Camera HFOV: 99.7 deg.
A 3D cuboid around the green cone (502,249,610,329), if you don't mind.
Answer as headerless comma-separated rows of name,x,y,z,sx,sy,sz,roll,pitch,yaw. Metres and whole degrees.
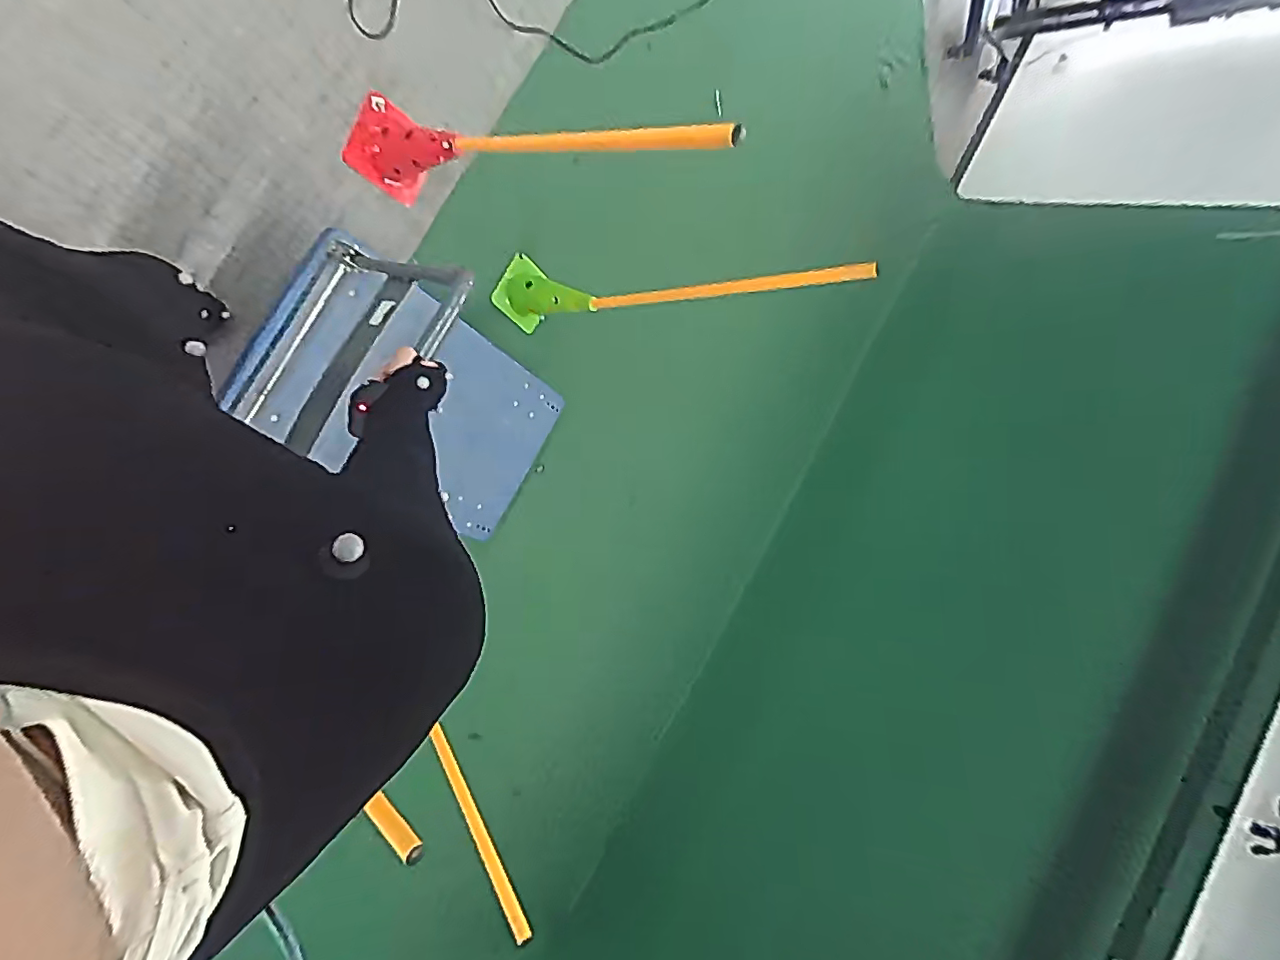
green cone,-0.237,-0.588,1.728,0.202,0.368,0.200,35,81,-52
